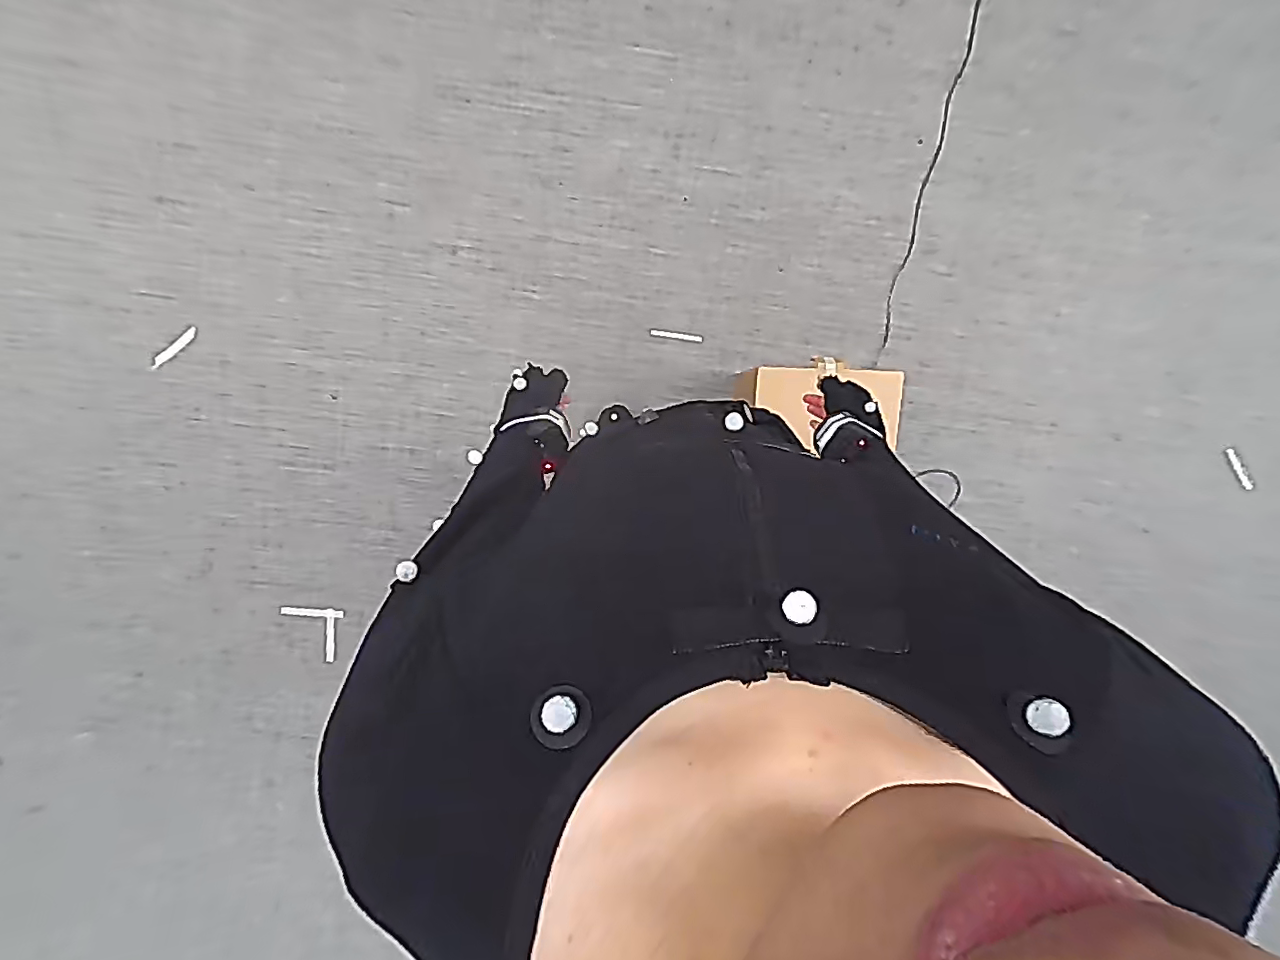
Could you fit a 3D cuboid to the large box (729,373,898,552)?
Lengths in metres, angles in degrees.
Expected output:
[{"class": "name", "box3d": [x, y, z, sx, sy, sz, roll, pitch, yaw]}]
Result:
[{"class": "large box", "box3d": [0.406, -0.060, 1.351, 0.320, 0.320, 0.408, 2, 99, 1]}]
